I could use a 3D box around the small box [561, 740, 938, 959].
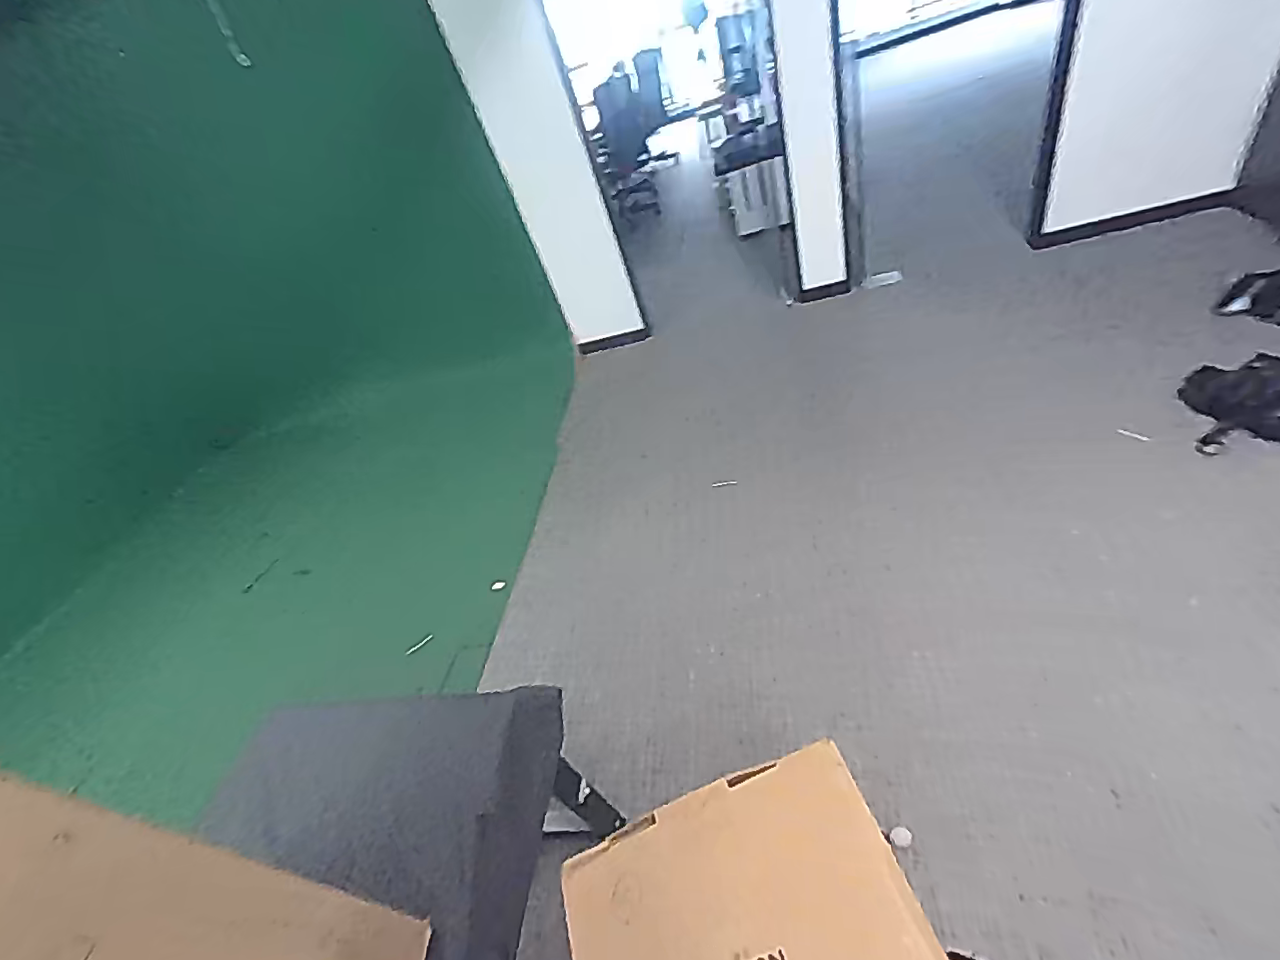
[{"bbox_3d":[0.077,0.278,0.293,0.168,0.176,0.179,-26,46,6],"label":"small box"}]
